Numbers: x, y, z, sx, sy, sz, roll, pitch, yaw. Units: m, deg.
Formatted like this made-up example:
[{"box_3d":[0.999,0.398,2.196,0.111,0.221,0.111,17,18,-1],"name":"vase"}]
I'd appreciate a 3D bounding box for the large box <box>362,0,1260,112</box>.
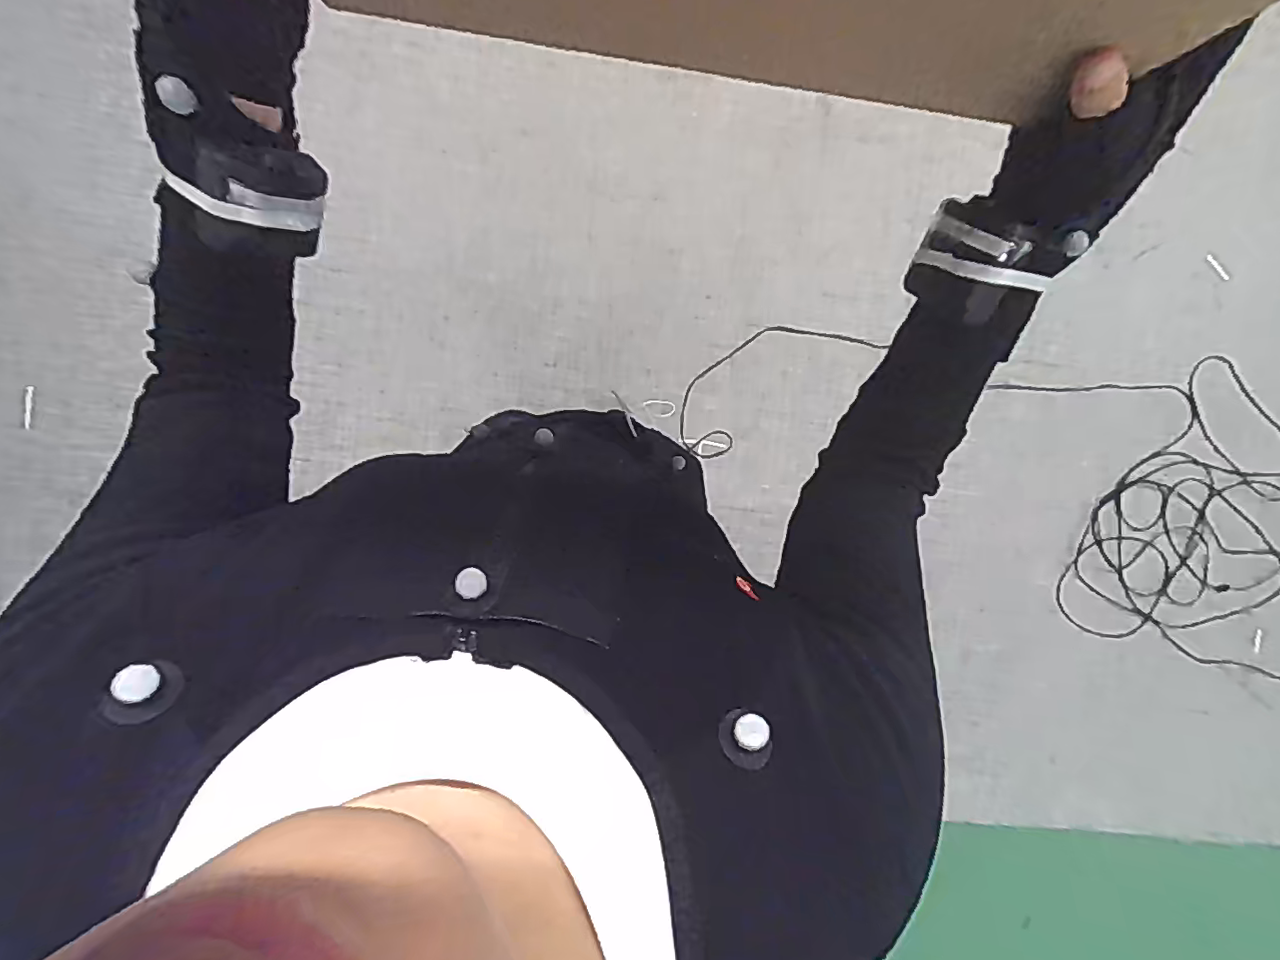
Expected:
[{"box_3d":[0.062,-0.337,0.118,0.408,0.320,0.320,8,105,-3],"name":"large box"}]
